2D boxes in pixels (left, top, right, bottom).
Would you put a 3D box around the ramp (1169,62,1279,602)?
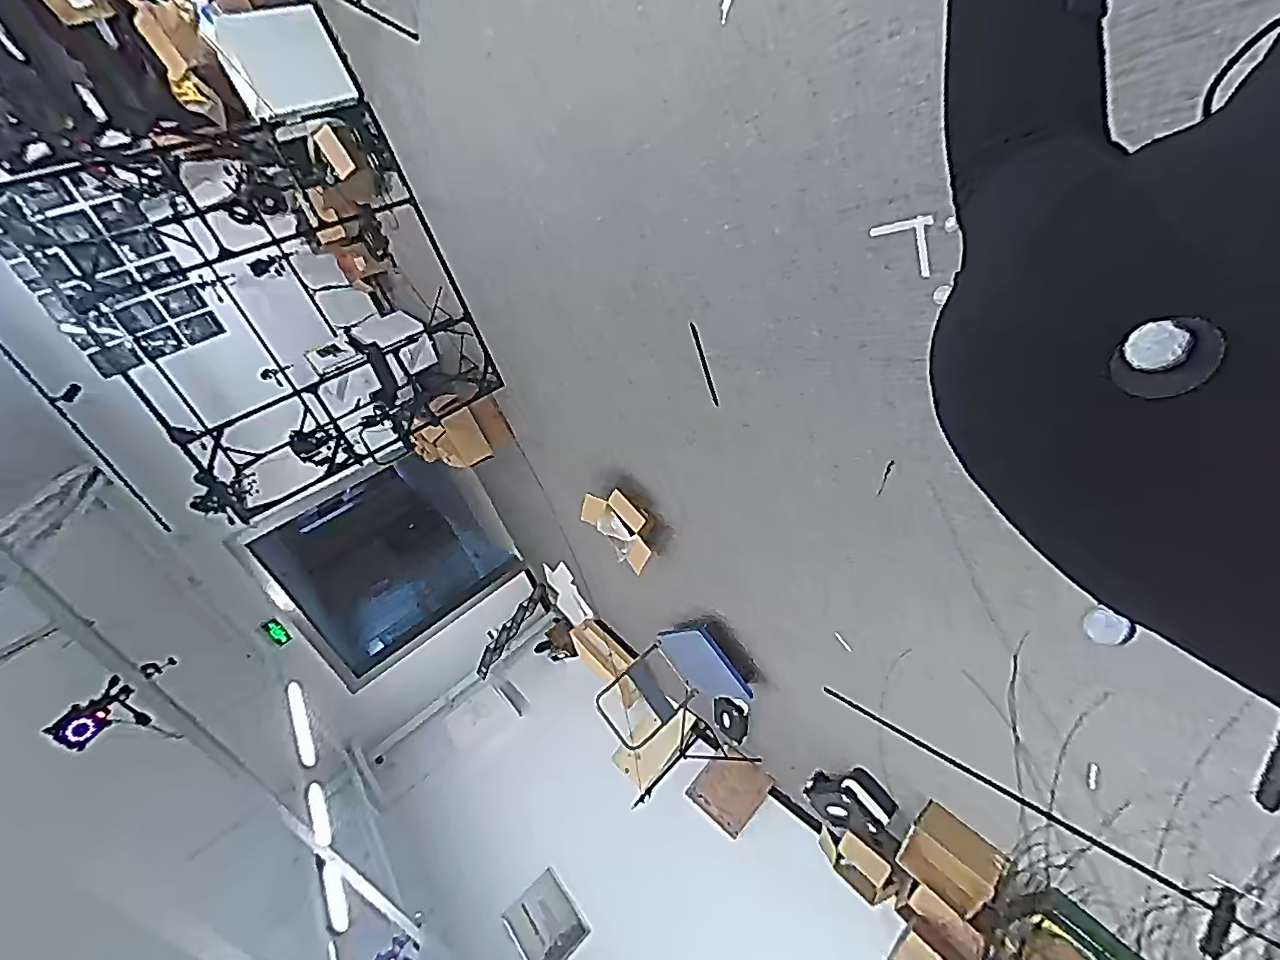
[{"bbox_3d":[1.272,-0.192,0.878,0.509,0.206,0.991,16,134,52],"label":"ramp"}]
